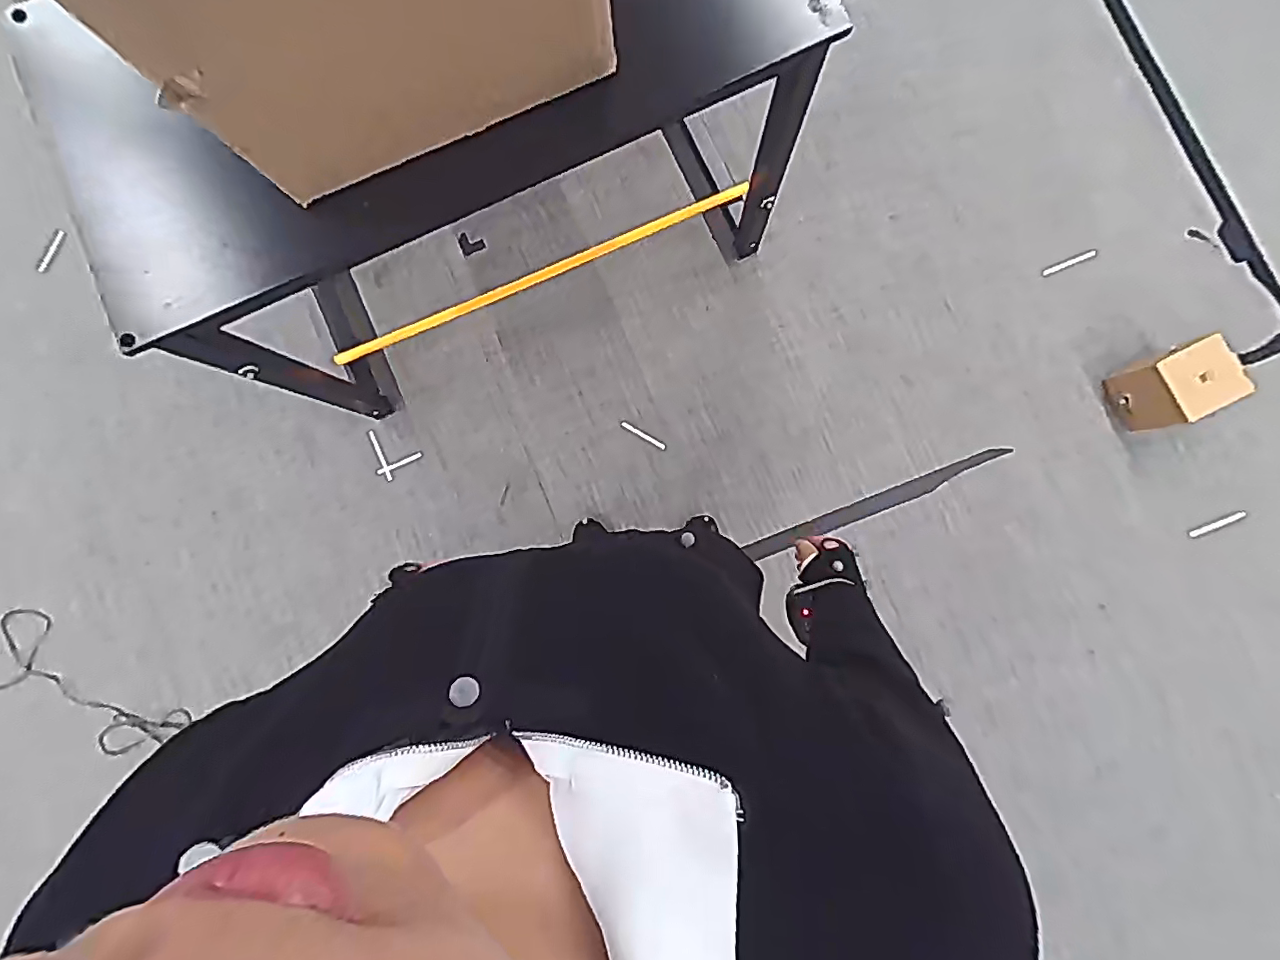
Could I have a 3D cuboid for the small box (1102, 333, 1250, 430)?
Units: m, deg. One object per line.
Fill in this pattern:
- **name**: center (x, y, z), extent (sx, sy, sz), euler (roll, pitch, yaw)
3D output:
- **small box**: center (1.359, -0.245, 1.385), extent (0.179, 0.176, 0.168), euler (-28, 86, 2)
